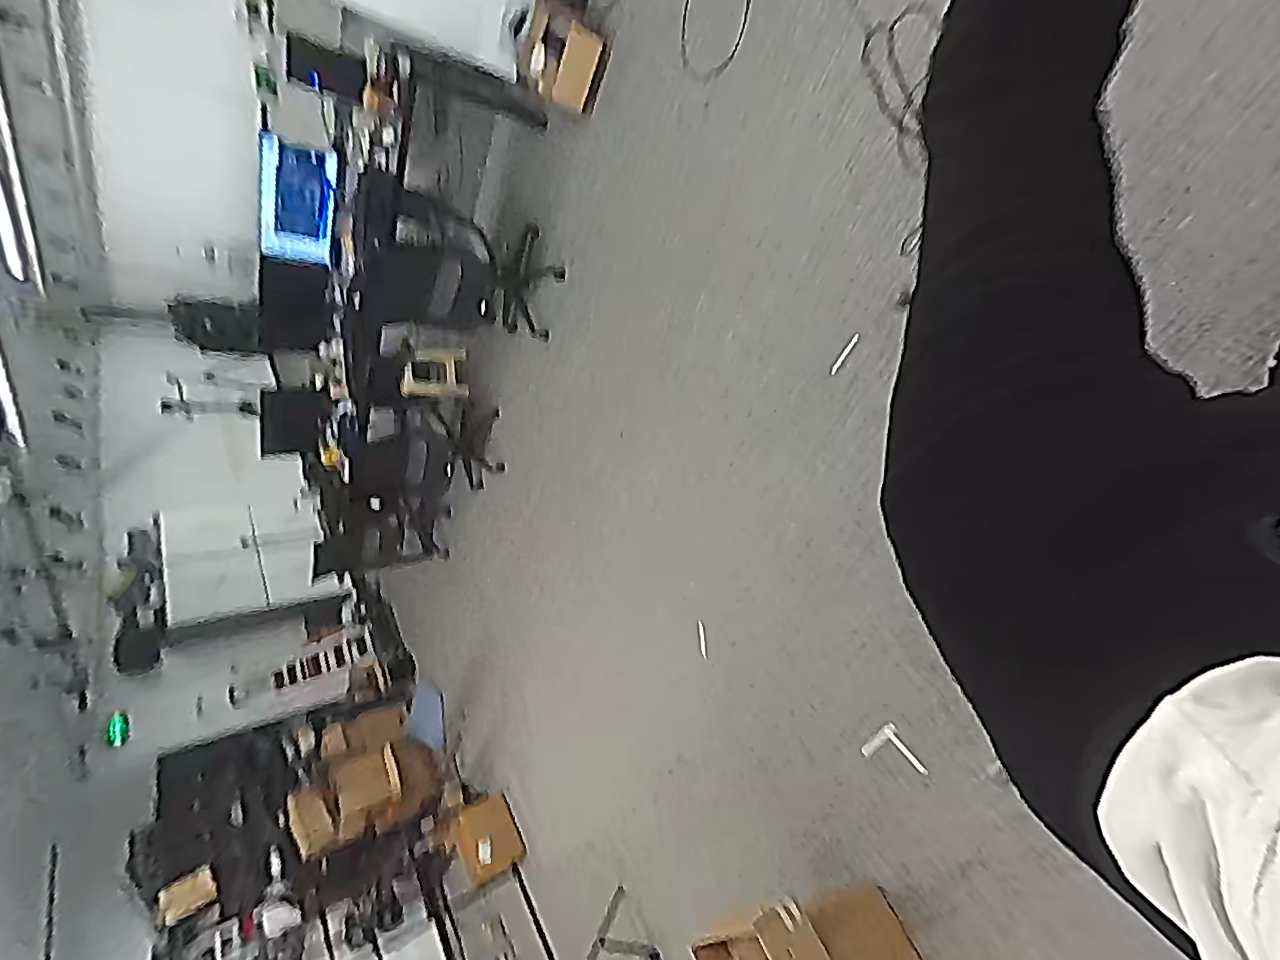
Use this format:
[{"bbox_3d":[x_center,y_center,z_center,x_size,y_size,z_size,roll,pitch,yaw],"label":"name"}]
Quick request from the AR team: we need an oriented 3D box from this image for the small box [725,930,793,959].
[{"bbox_3d":[0.362,1.488,1.611,0.168,0.176,0.179,57,134,27],"label":"small box"}]
